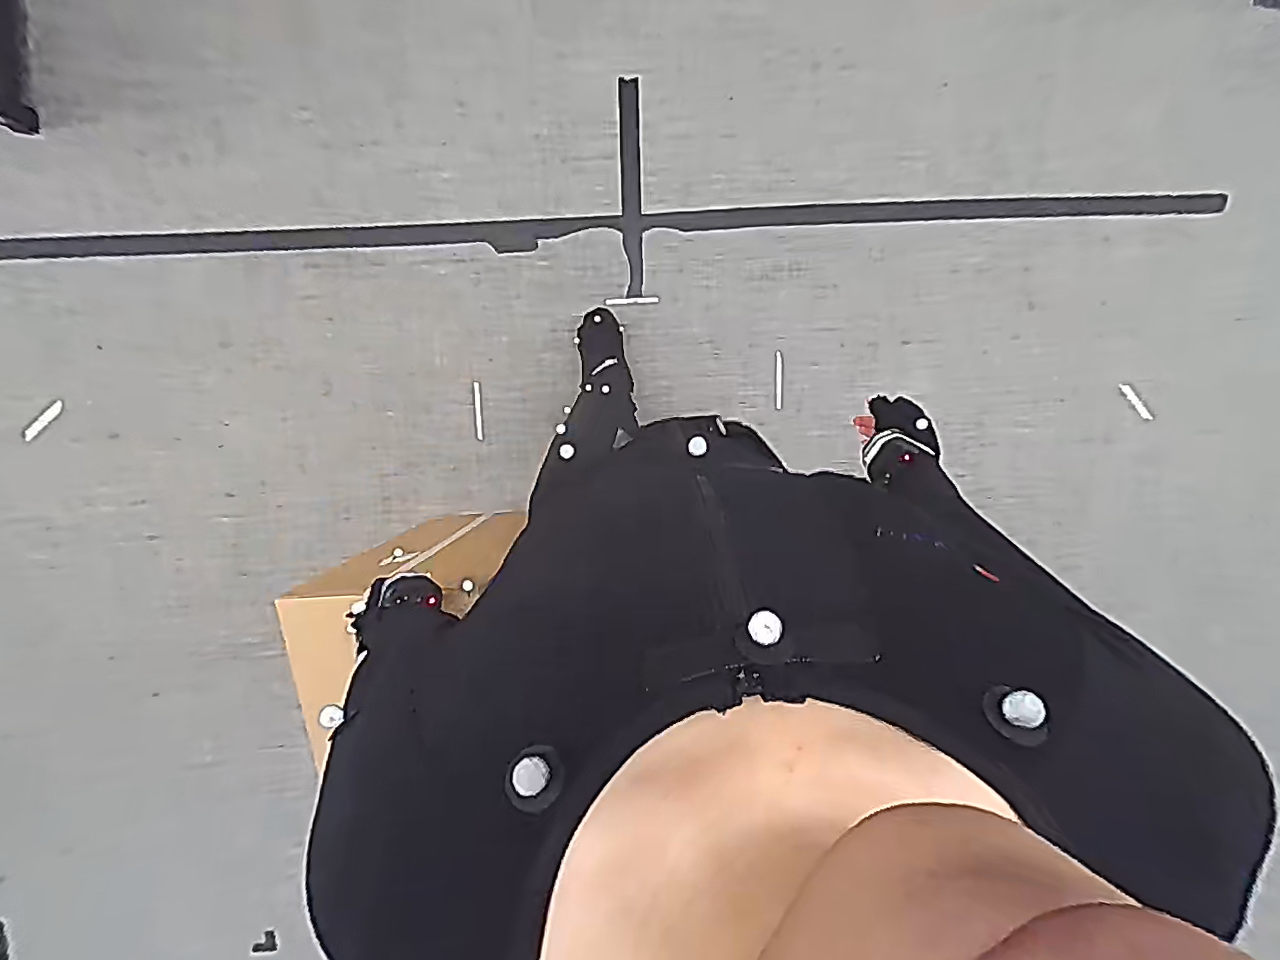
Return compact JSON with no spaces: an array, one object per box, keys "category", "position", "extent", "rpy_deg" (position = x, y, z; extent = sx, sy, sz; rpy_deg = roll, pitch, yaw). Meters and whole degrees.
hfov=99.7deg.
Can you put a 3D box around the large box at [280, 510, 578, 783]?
[{"category":"large box","position":[-0.322,0.260,0.963],"extent":[0.320,0.408,0.320],"rpy_deg":[-6,101,11]}]
